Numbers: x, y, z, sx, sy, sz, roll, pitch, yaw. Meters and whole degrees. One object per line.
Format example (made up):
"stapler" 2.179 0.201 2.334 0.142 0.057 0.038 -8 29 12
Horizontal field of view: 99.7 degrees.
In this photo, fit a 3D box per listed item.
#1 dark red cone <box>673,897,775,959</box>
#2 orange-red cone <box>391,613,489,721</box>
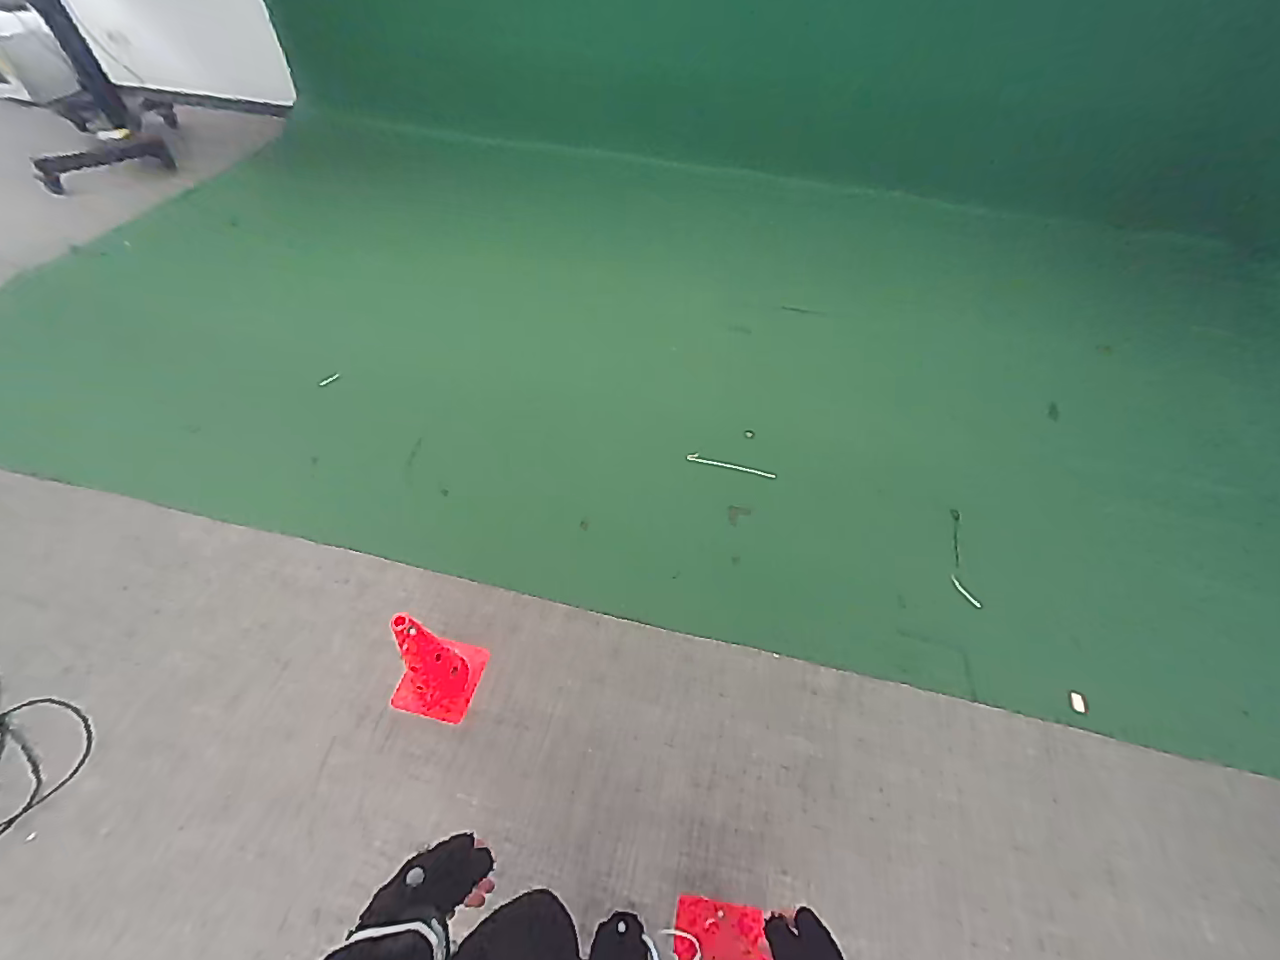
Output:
"dark red cone" 0.170 0.855 0.945 0.202 0.394 0.201 8 50 4
"orange-red cone" -0.521 0.415 1.303 0.198 0.360 0.199 12 53 8
